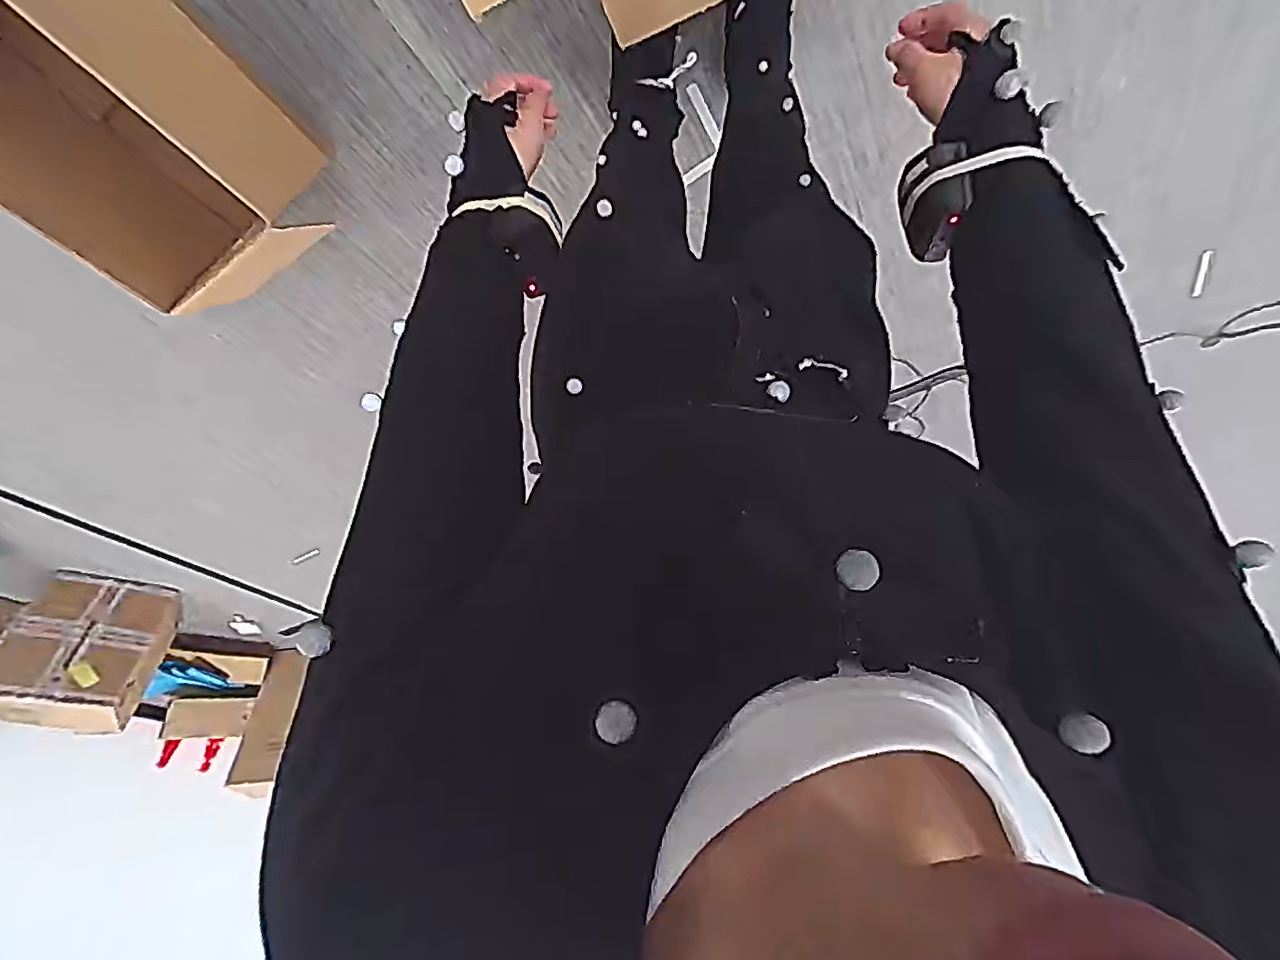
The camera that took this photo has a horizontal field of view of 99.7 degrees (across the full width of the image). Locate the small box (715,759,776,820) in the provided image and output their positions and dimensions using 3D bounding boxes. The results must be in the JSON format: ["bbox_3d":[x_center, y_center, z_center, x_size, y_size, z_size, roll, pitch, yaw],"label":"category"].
[{"bbox_3d":[0.396,1.176,2.051,0.179,0.176,0.168,-22,140,20],"label":"small box"}]
